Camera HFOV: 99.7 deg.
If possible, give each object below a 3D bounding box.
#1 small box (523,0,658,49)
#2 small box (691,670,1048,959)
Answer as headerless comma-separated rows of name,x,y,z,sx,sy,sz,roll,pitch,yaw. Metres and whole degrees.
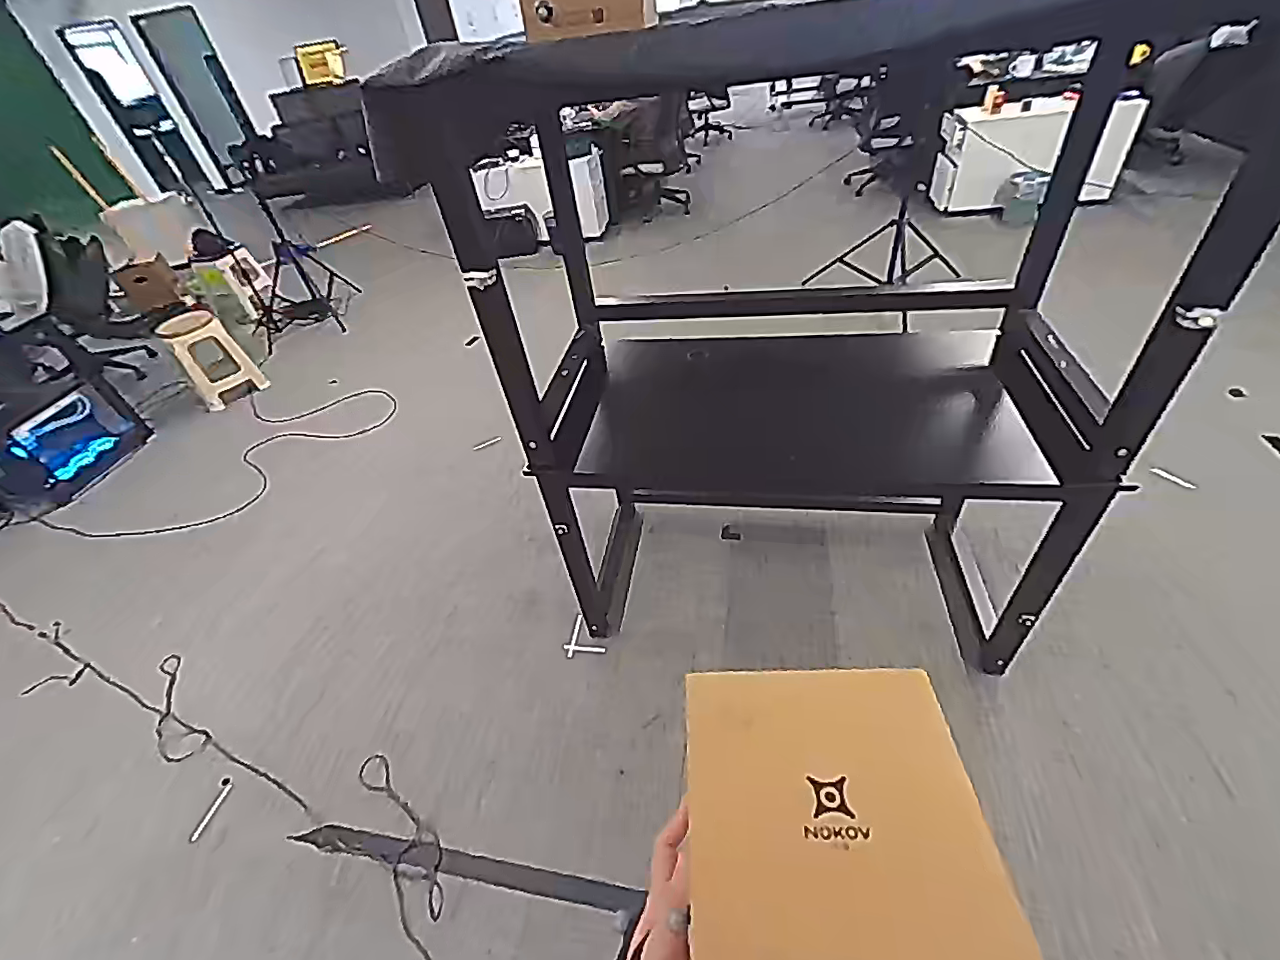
small box,-0.068,-0.701,0.733,0.168,0.176,0.179,1,40,9
small box,0.118,0.251,0.359,0.168,0.176,0.179,-3,38,5
